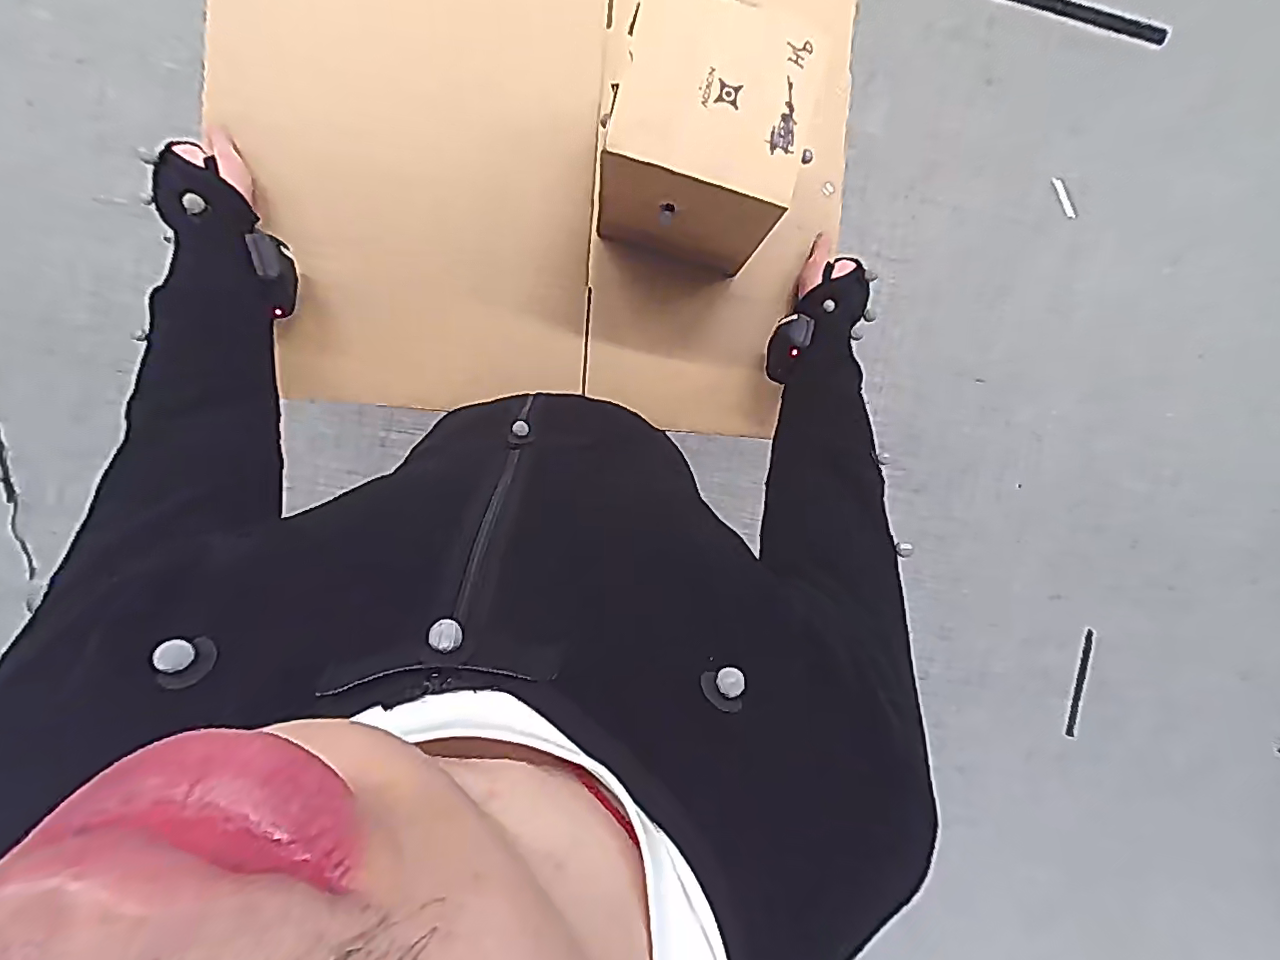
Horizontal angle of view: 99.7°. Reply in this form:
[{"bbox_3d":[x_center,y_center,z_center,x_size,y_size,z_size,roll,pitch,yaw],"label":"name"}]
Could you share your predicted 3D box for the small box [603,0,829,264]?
[{"bbox_3d":[0.063,-0.349,0.563,0.179,0.176,0.168,14,90,-5],"label":"small box"}]
